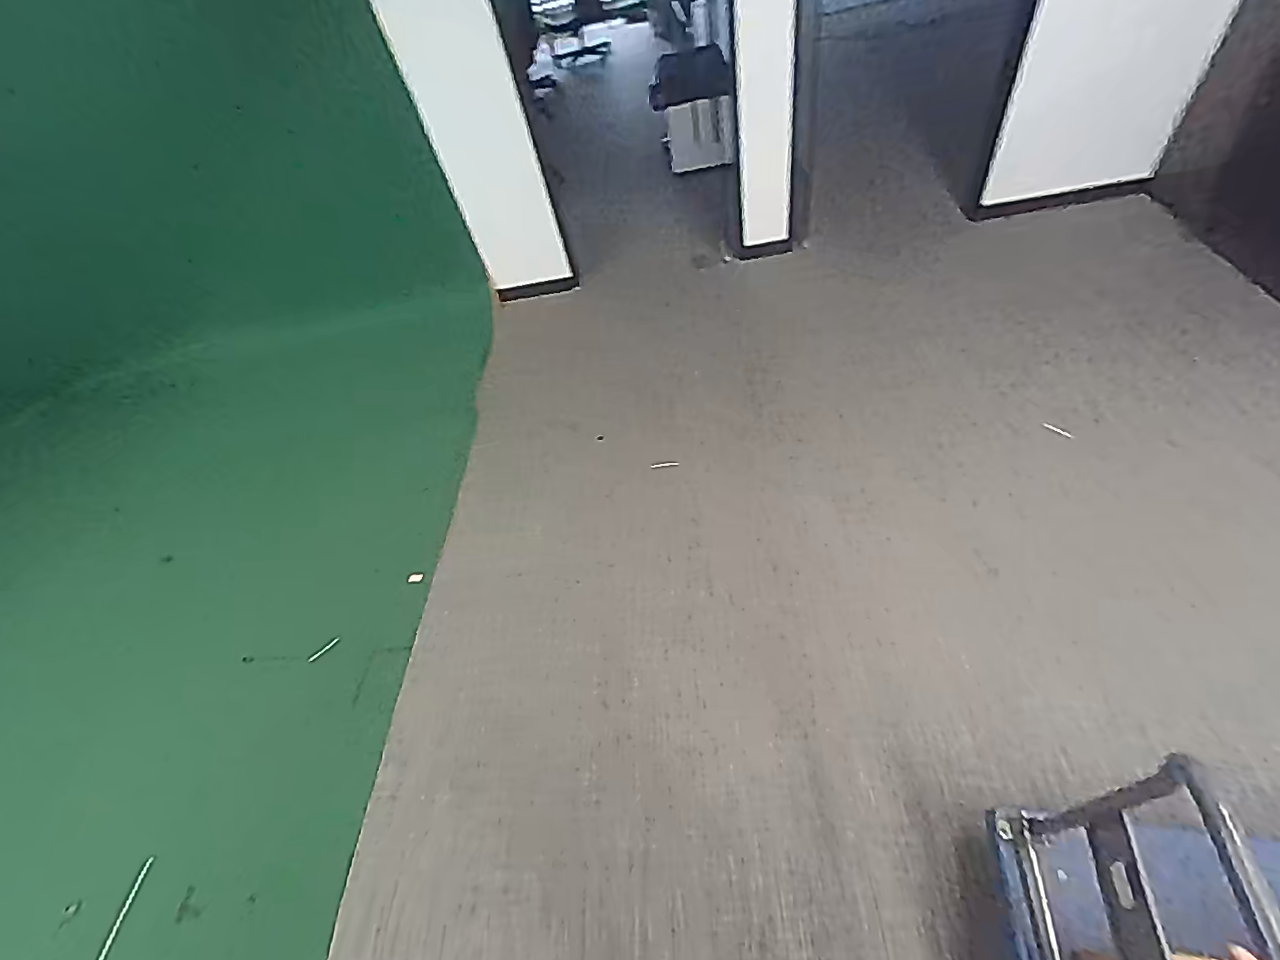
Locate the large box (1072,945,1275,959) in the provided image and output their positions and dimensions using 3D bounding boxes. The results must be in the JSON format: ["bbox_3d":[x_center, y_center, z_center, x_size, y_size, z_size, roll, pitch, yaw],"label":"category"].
[{"bbox_3d":[0.942,0.879,0.752,0.408,0.320,0.320,0,52,12],"label":"large box"}]
